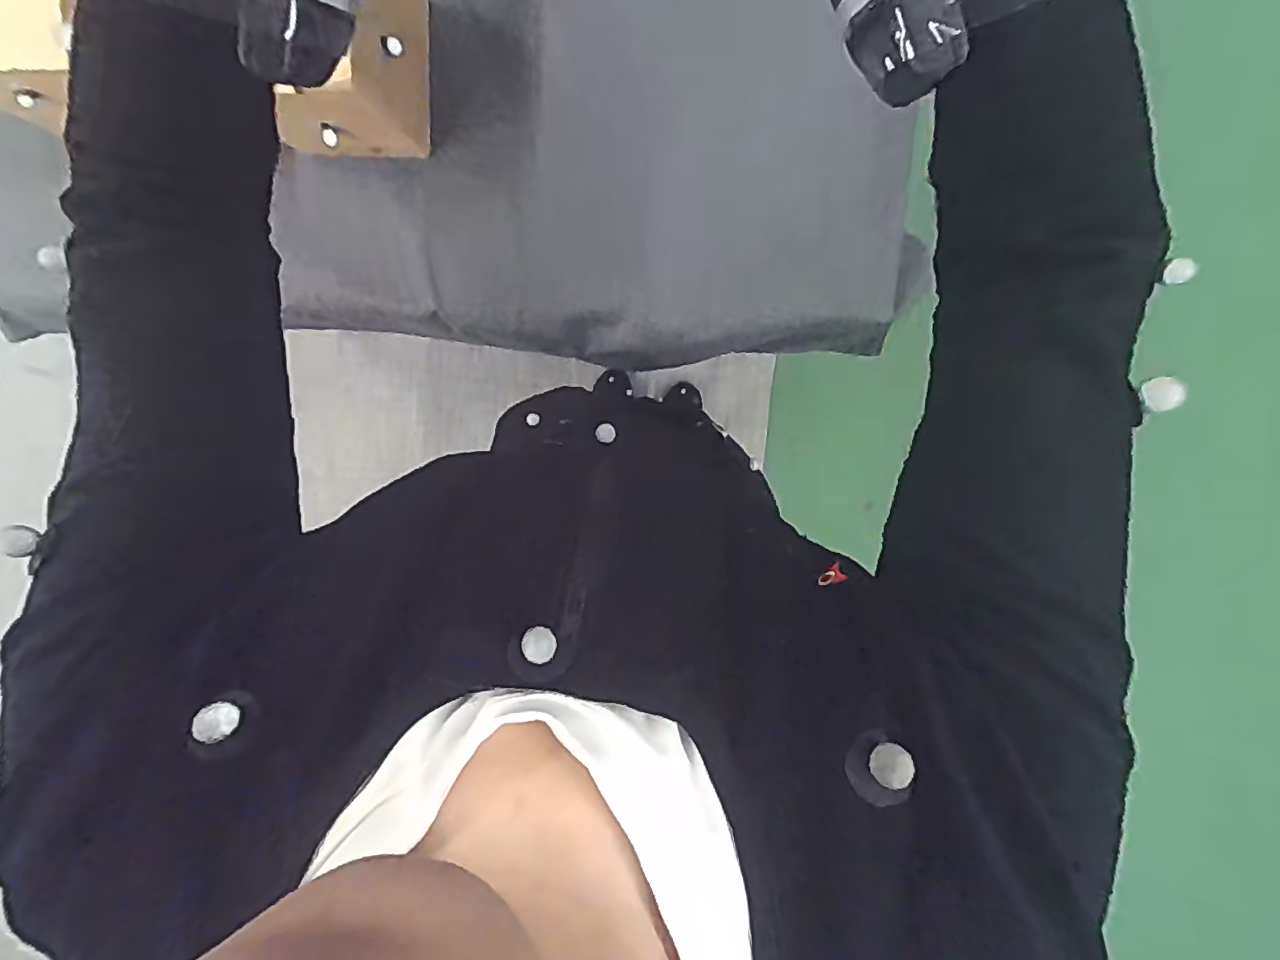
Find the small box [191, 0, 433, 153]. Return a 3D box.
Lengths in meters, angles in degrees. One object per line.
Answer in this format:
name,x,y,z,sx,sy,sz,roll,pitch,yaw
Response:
small box,-0.338,-0.480,0.586,0.168,0.176,0.179,4,101,3

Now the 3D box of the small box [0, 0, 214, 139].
small box,-0.630,-0.503,0.602,0.179,0.176,0.168,2,100,3
